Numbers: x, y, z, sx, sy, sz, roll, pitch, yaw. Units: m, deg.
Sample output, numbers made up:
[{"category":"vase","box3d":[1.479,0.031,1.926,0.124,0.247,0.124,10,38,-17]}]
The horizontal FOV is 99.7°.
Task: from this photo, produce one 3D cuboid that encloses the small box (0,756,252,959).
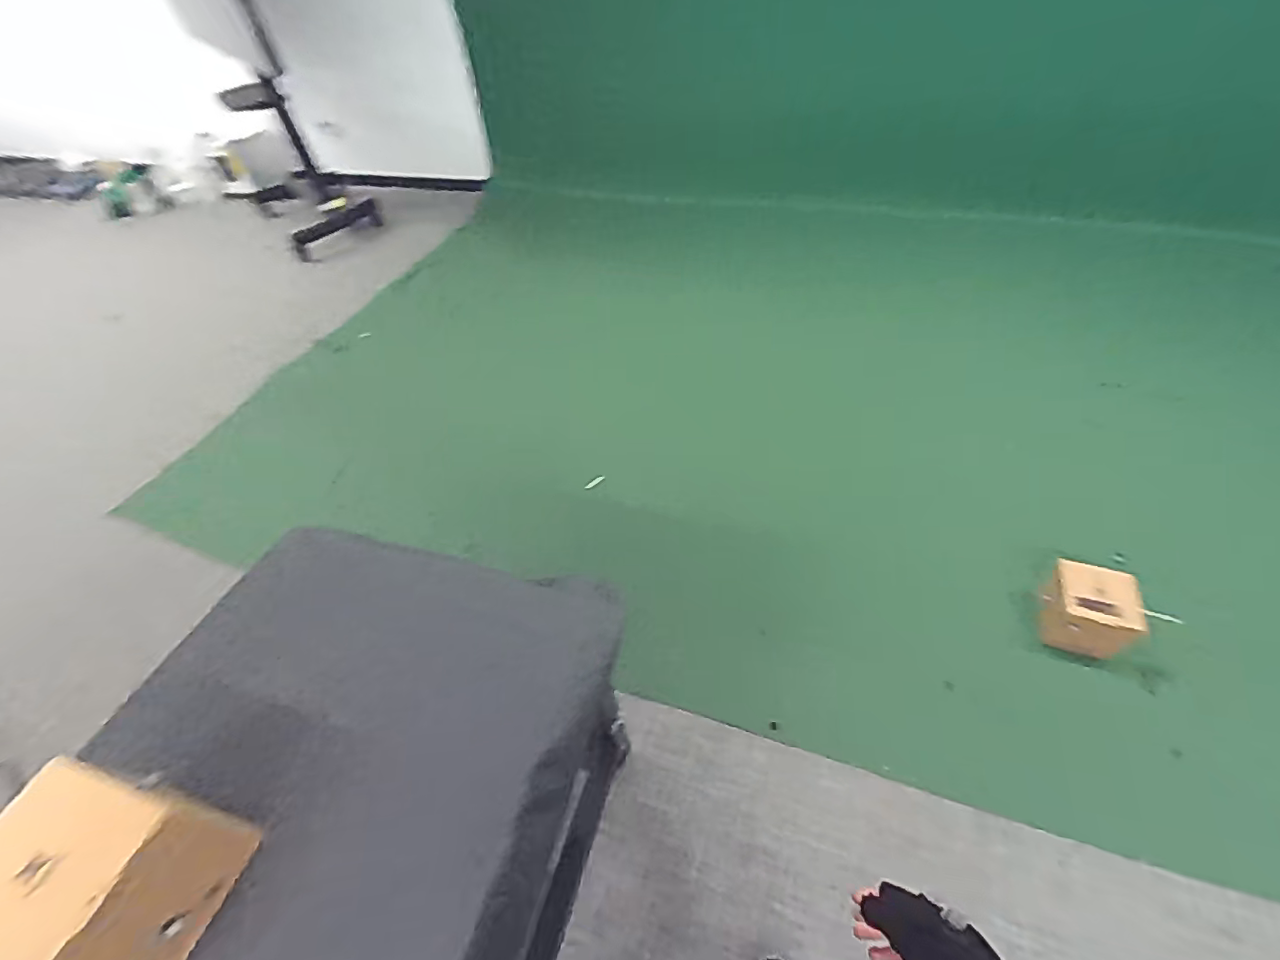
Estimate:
[{"category":"small box","box3d":[-0.589,0.433,0.588,0.179,0.176,0.168,12,51,14]}]
